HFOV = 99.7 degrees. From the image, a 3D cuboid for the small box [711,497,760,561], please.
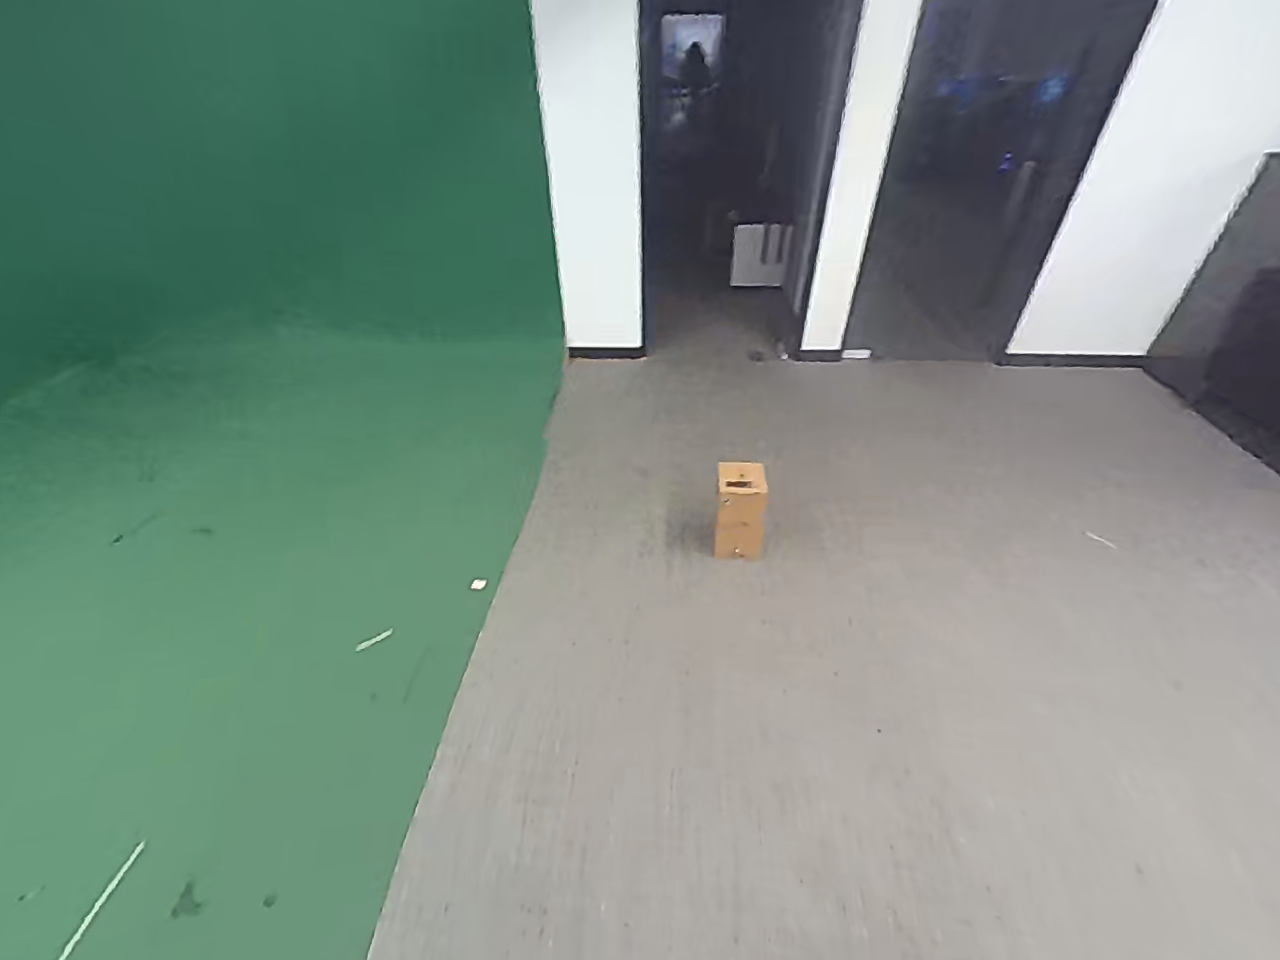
[{"bbox_3d":[0.358,0.186,2.060,0.168,0.176,0.179,2,40,4],"label":"small box"}]
